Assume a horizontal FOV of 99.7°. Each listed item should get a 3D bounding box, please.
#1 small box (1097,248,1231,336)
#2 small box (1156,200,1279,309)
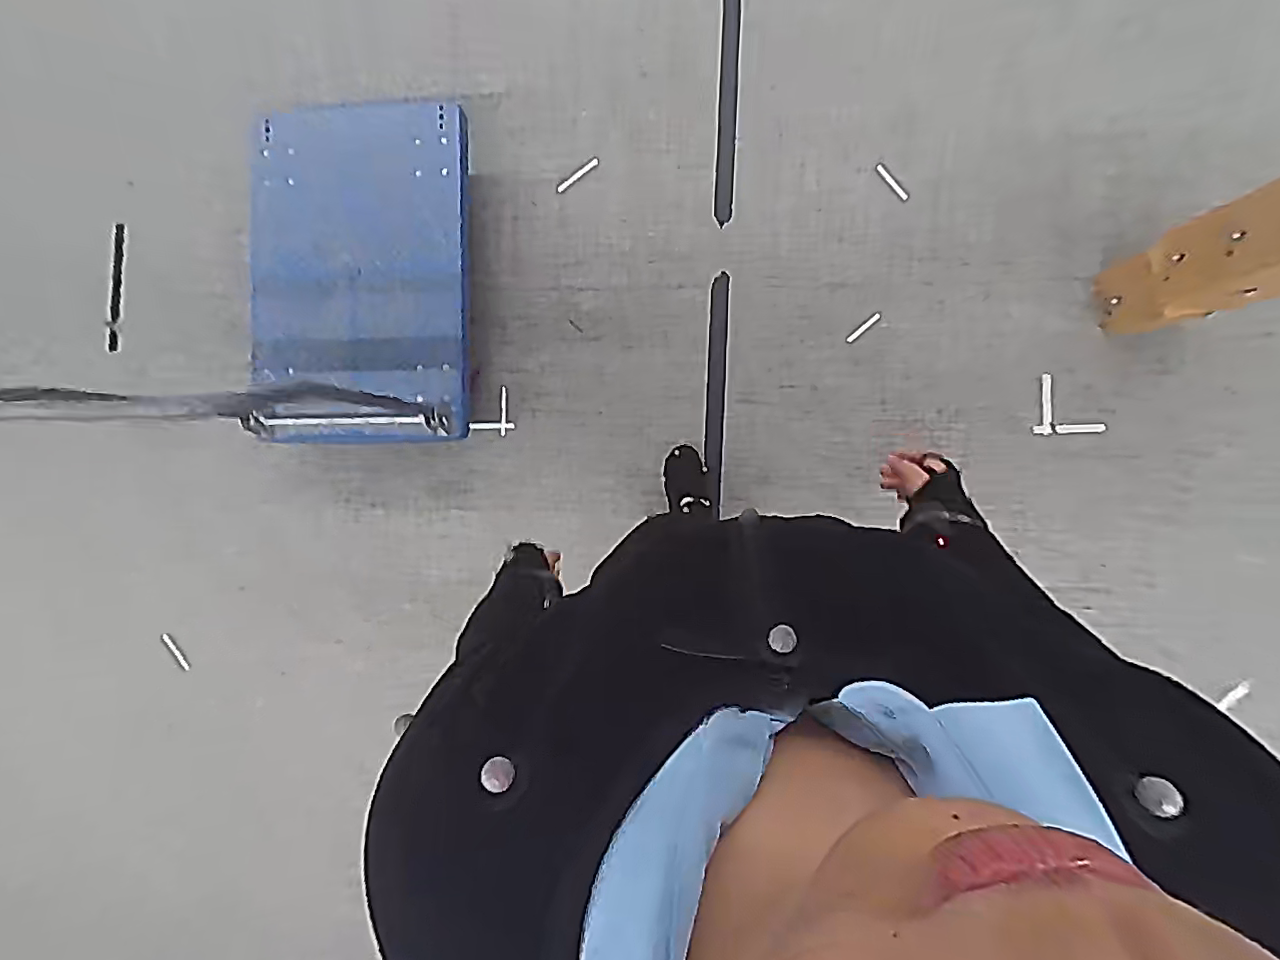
[{"bbox_3d":[1.275,-0.464,1.312,0.179,0.176,0.168,-11,88,5],"label":"small box"},{"bbox_3d":[1.266,-0.472,1.149,0.179,0.176,0.168,2,90,6],"label":"small box"}]
